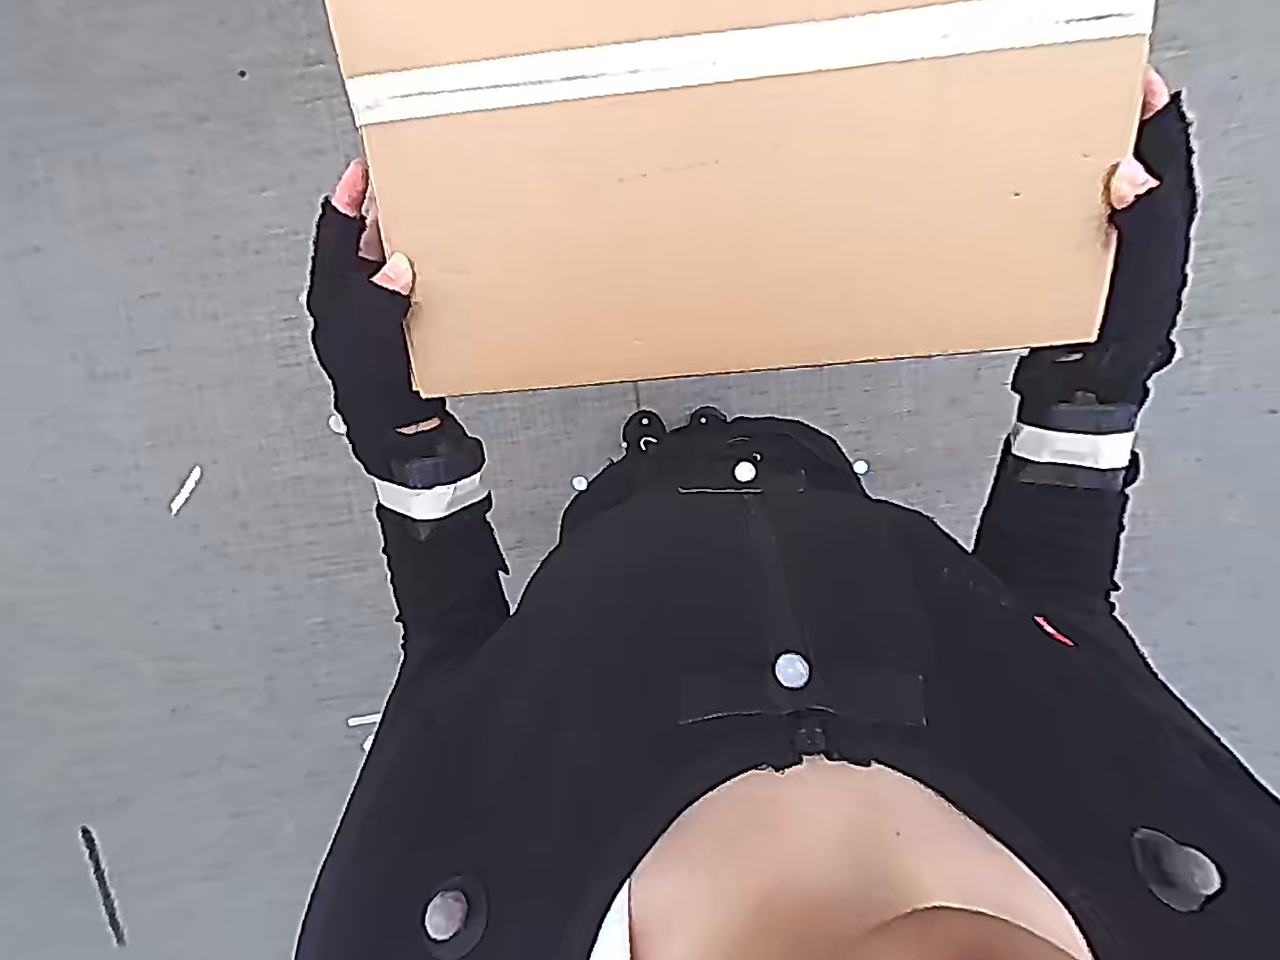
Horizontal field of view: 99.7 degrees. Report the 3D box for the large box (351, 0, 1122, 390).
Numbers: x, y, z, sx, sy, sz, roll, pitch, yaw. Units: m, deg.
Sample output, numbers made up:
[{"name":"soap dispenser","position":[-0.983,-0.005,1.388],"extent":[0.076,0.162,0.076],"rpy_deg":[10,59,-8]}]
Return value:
[{"name":"large box","position":[0.051,-0.265,0.431],"extent":[0.408,0.320,0.320],"rpy_deg":[-5,109,3]}]
